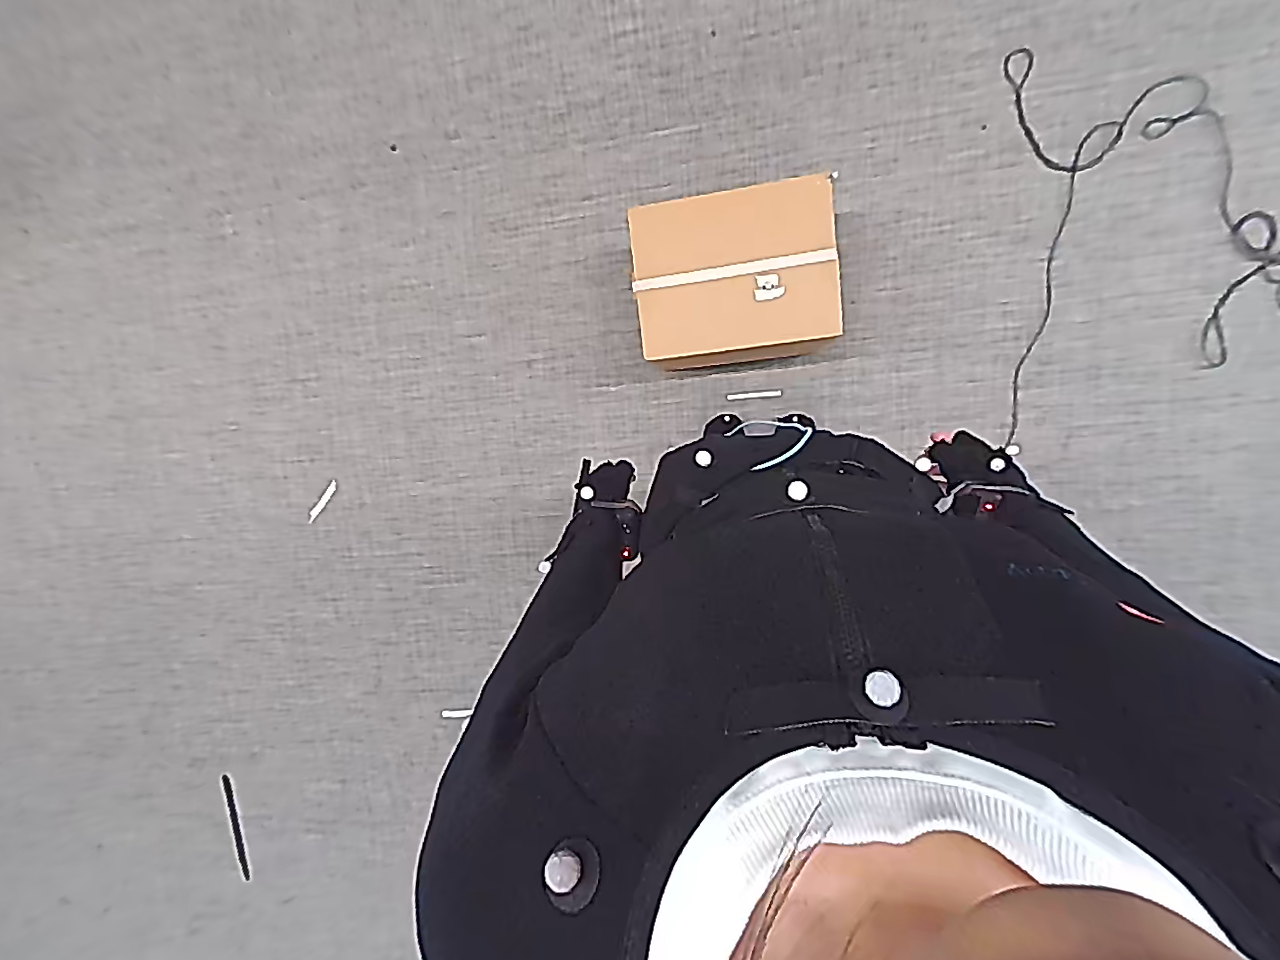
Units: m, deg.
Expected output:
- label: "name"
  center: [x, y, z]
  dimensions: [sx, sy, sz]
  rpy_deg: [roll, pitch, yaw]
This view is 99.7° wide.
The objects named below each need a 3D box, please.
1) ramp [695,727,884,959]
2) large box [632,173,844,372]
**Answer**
- label: "ramp"
  center: [0.402, 1.197, 1.474]
  dimensions: [0.509, 0.206, 0.991]
  rpy_deg: [-3, 96, 12]
- label: "large box"
  center: [0.217, -0.442, 1.243]
  dimensions: [0.408, 0.320, 0.320]
  rpy_deg: [-6, 96, 10]
